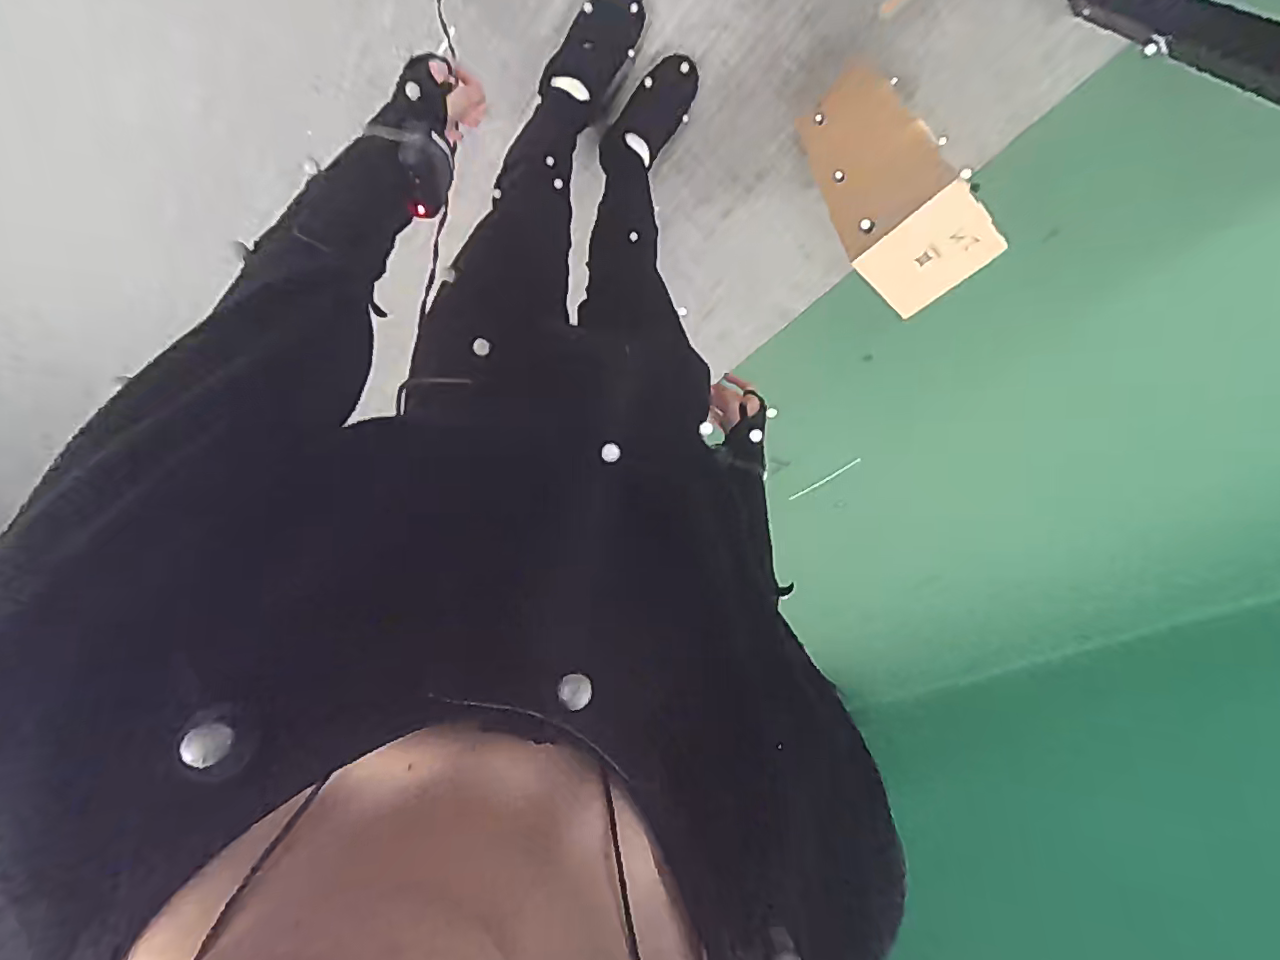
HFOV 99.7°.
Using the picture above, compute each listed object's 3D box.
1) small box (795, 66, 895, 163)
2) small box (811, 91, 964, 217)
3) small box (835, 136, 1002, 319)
[{"bbox_3d":[0.432,-0.678,1.076,0.179,0.176,0.168,29,132,-32],"label":"small box"},{"bbox_3d":[0.437,-0.549,0.978,0.168,0.176,0.179,27,135,-30],"label":"small box"},{"bbox_3d":[0.442,-0.411,0.888,0.168,0.176,0.179,27,134,-31],"label":"small box"}]
